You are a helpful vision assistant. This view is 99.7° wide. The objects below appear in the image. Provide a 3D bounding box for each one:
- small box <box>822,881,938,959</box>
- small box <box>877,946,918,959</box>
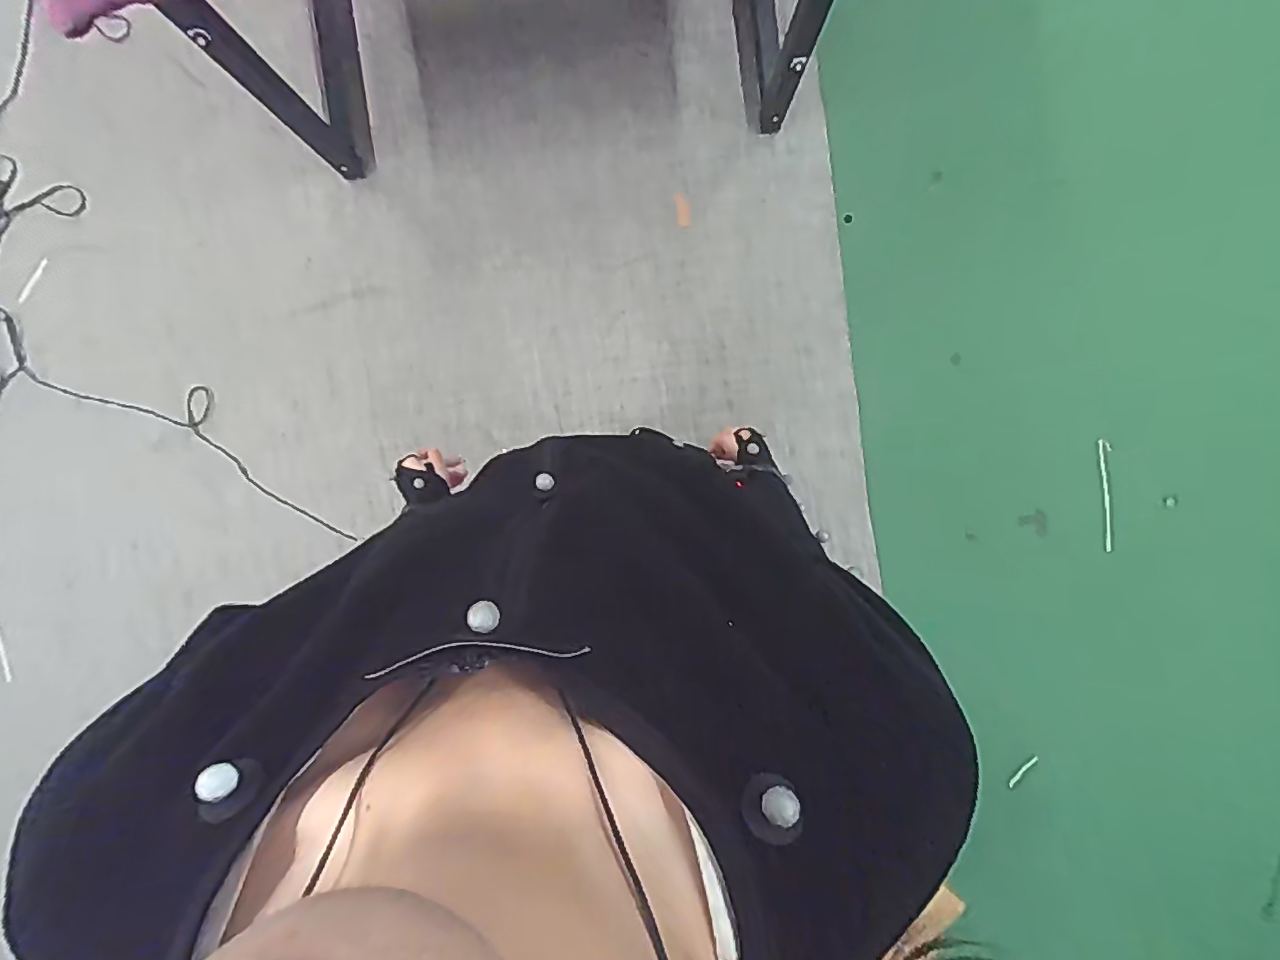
[{"bbox_3d":[0.531,1.033,1.170,0.179,0.176,0.168,45,92,-2],"label":"small box"},{"bbox_3d":[0.522,1.041,1.007,0.179,0.176,0.168,42,92,-2],"label":"small box"}]
